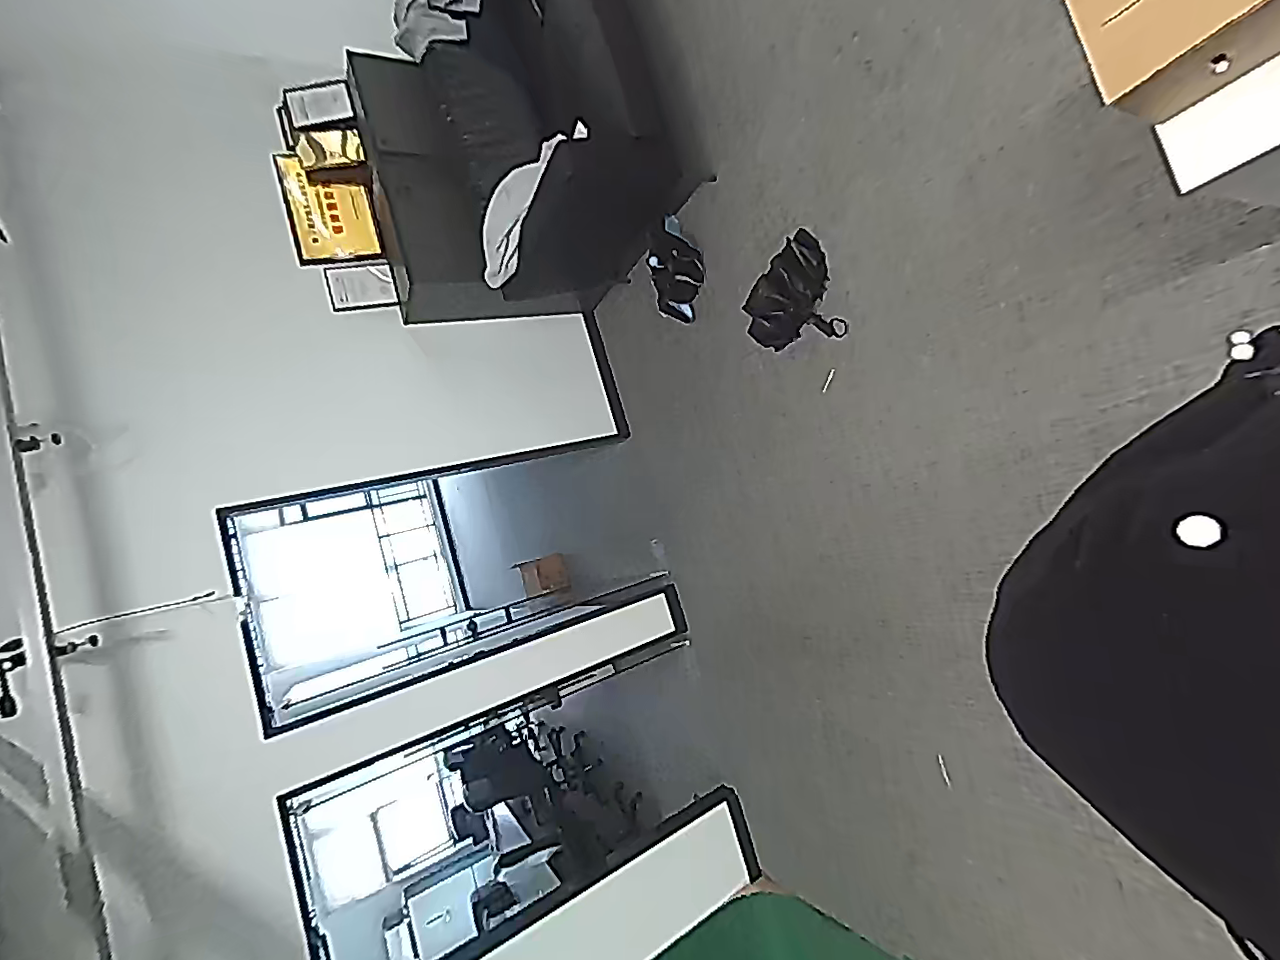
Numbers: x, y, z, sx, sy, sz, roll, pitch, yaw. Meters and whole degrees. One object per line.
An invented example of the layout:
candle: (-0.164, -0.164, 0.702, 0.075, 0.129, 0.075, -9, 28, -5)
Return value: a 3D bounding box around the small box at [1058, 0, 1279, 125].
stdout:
small box: (0.620, -0.535, 0.598, 0.179, 0.176, 0.168, -24, 80, 61)
